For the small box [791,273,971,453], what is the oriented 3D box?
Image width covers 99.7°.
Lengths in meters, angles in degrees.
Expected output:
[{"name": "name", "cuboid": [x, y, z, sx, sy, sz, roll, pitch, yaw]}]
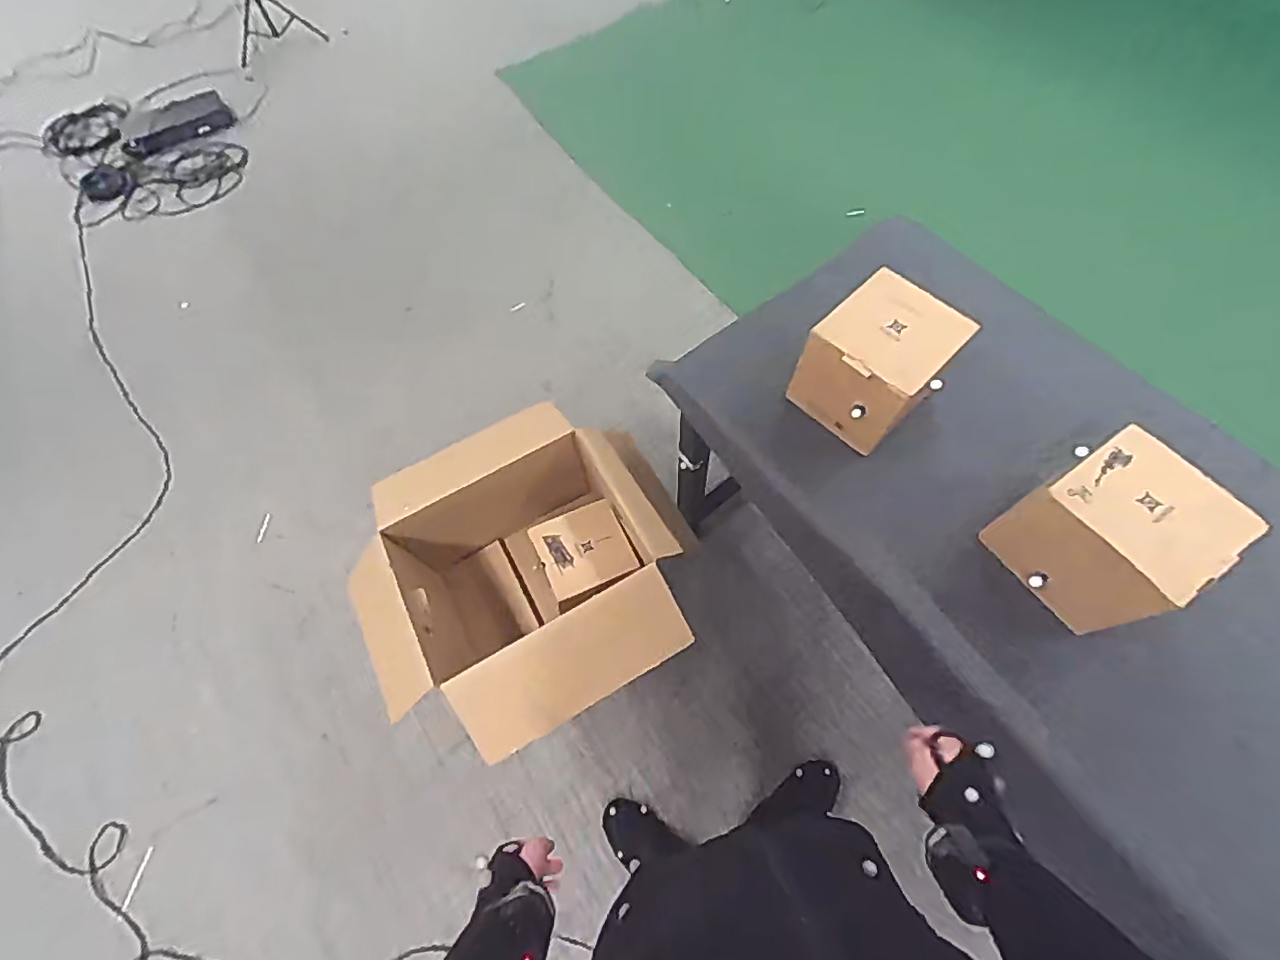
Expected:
[{"name": "small box", "cuboid": [0.355, -0.173, 0.838, 0.179, 0.176, 0.168, -41, 71, -18]}]

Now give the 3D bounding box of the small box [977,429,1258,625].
[{"name": "small box", "cuboid": [0.599, 0.072, 0.707, 0.168, 0.176, 0.179, -32, 68, -12]}]
